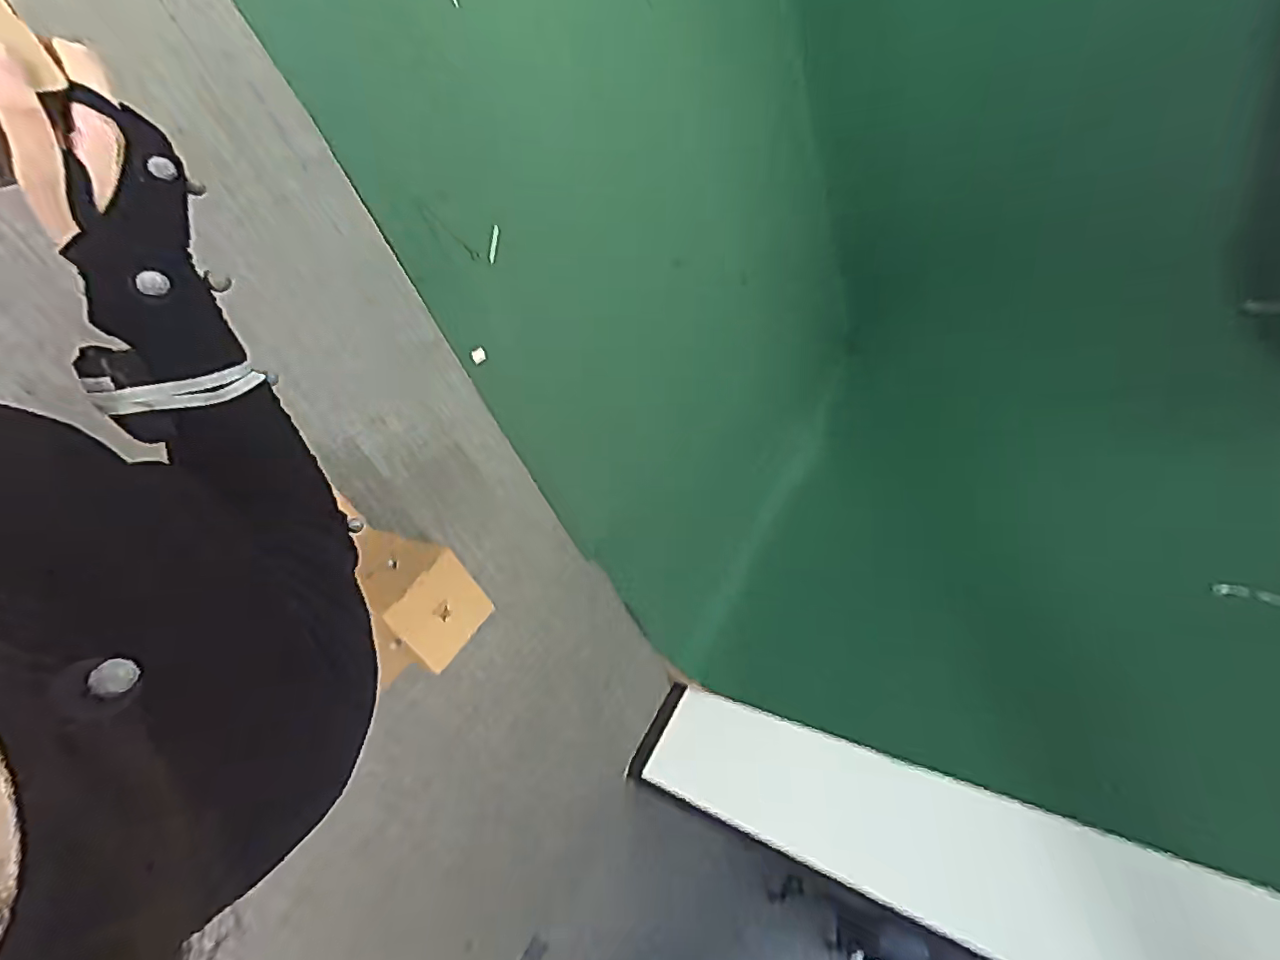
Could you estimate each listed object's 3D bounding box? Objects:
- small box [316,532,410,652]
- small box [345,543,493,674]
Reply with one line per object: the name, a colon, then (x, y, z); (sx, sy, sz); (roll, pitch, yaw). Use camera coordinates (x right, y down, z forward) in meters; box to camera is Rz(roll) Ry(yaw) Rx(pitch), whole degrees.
small box: (-0.561, 0.234, 1.167); (0.179, 0.176, 0.168); (-52, 132, -34)
small box: (-0.434, 0.243, 1.066); (0.168, 0.176, 0.179); (-50, 129, -35)
